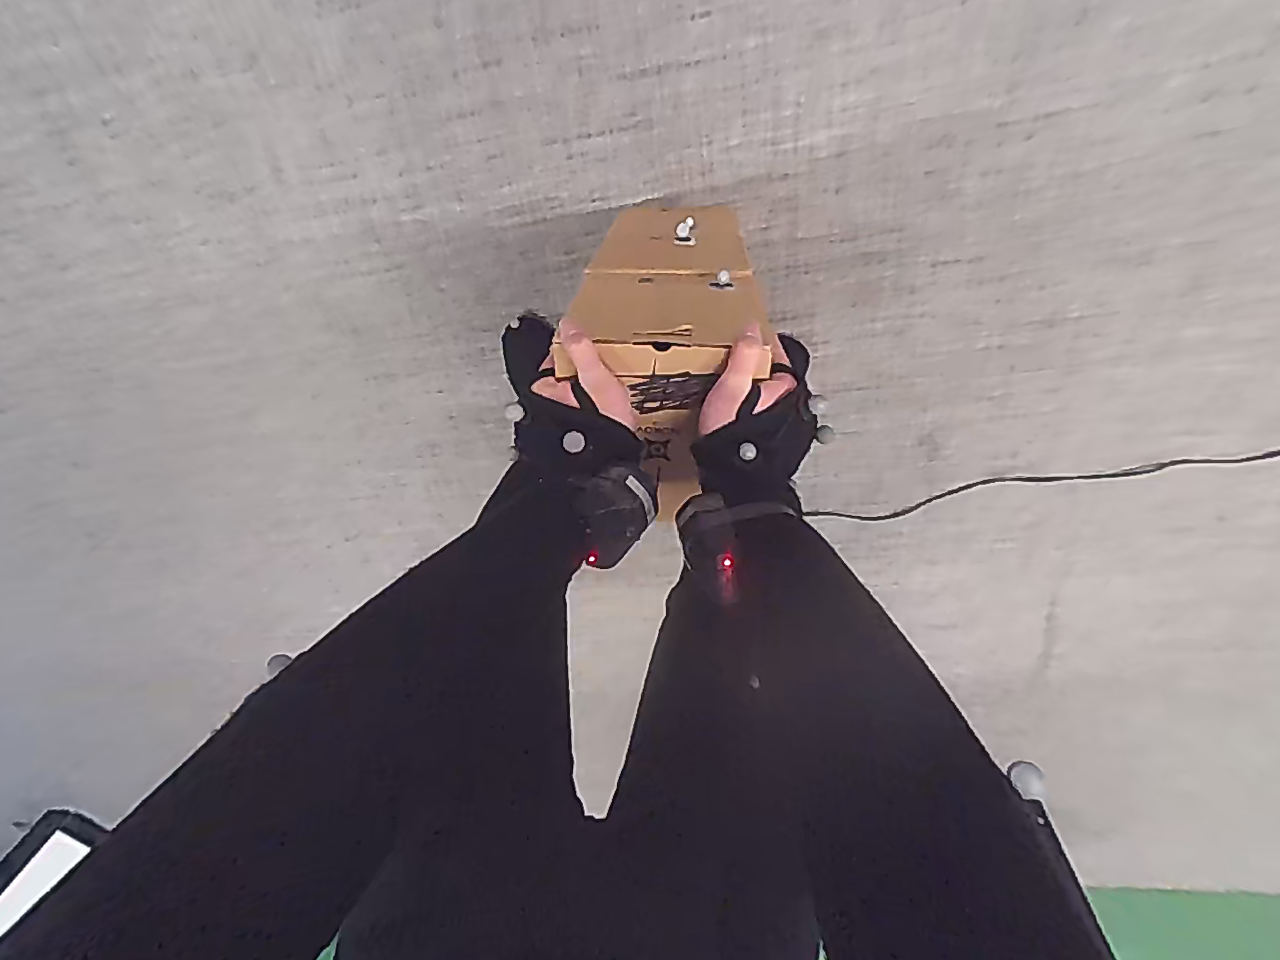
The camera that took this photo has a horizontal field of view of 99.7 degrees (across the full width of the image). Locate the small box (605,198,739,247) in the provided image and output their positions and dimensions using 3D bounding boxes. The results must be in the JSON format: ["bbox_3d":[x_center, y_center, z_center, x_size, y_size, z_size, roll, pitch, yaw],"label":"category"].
[{"bbox_3d":[0.047,-0.281,0.761,0.168,0.176,0.179,4,128,5],"label":"small box"}]

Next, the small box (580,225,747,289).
[{"bbox_3d":[0.031,-0.185,0.633,0.168,0.176,0.179,2,126,5],"label":"small box"}]

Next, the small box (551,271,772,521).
[{"bbox_3d":[0.019,-0.085,0.507,0.168,0.176,0.179,3,129,4],"label":"small box"}]
